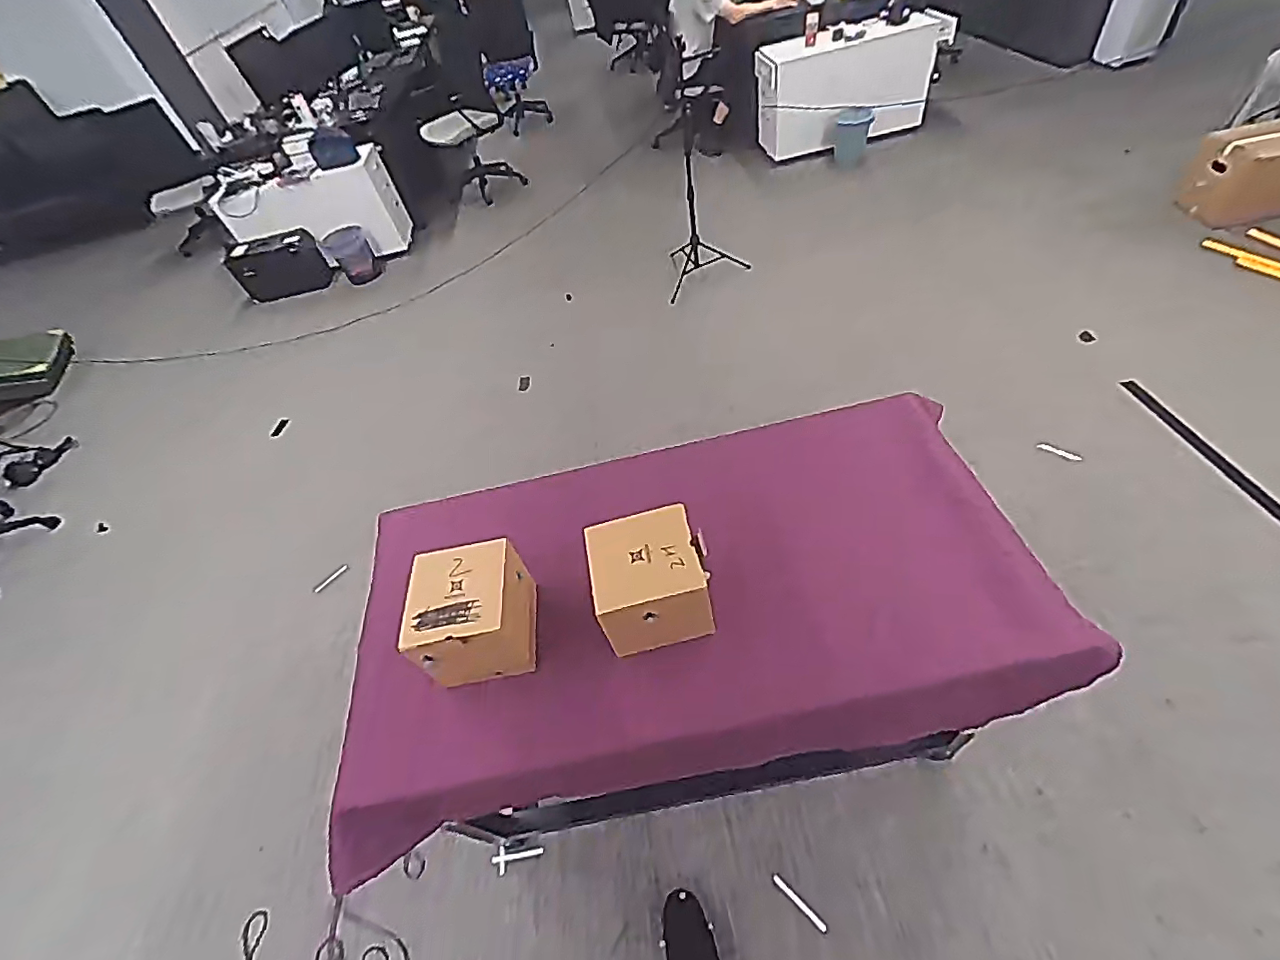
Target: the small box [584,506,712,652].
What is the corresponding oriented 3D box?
[{"bbox_3d":[0.016,0.175,0.925,0.179,0.176,0.168,-14,49,0],"label":"small box"}]
